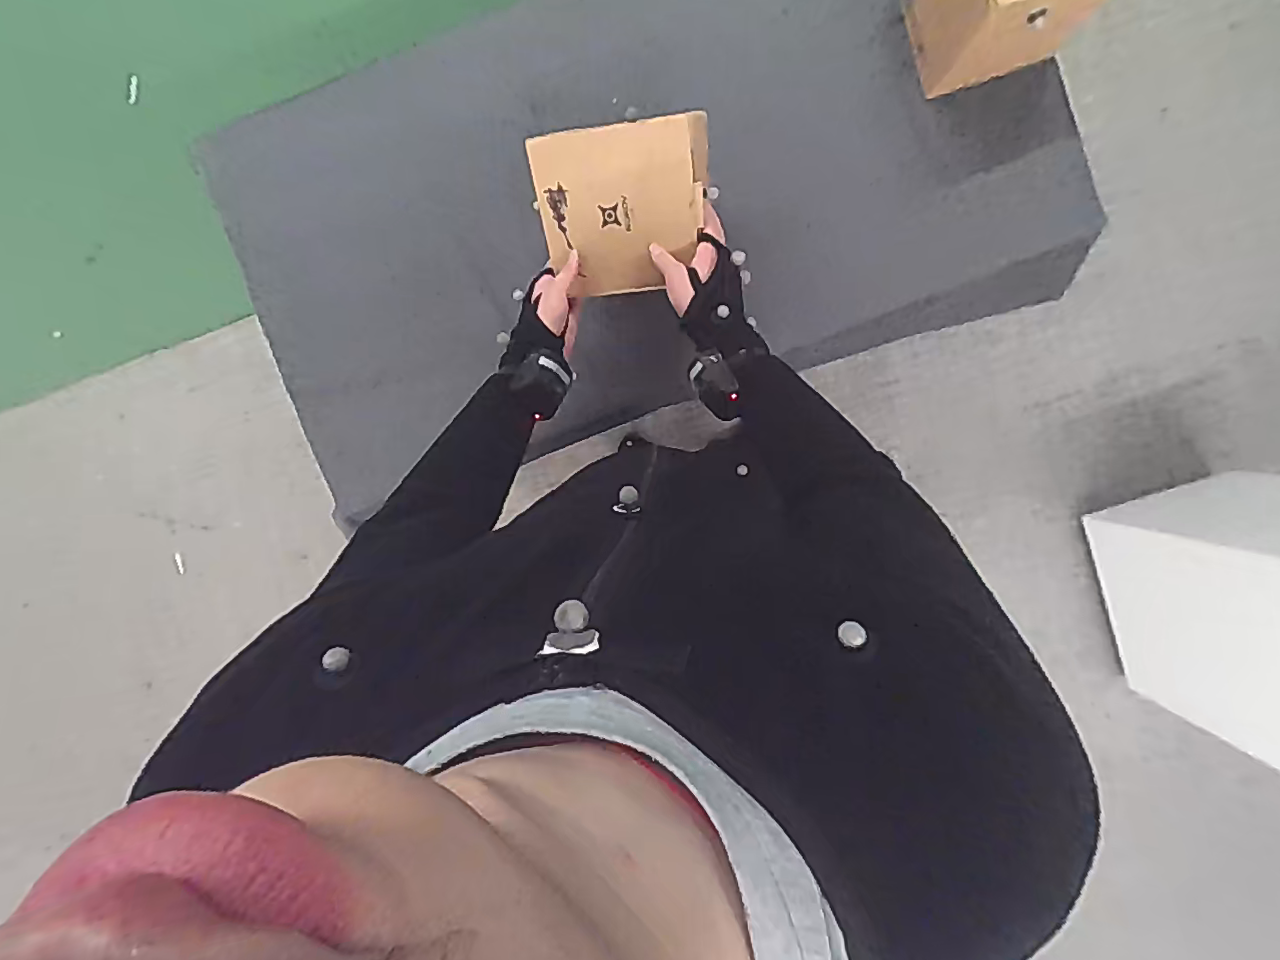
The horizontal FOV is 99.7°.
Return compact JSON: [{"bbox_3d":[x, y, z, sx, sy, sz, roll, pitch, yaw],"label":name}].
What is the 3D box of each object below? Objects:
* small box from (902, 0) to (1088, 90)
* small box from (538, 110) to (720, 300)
[{"bbox_3d":[0.451,-0.635,0.671,0.179,0.176,0.168,-18,94,1],"label":"small box"},{"bbox_3d":[0.001,-0.323,0.630,0.179,0.176,0.168,-2,124,10],"label":"small box"}]
